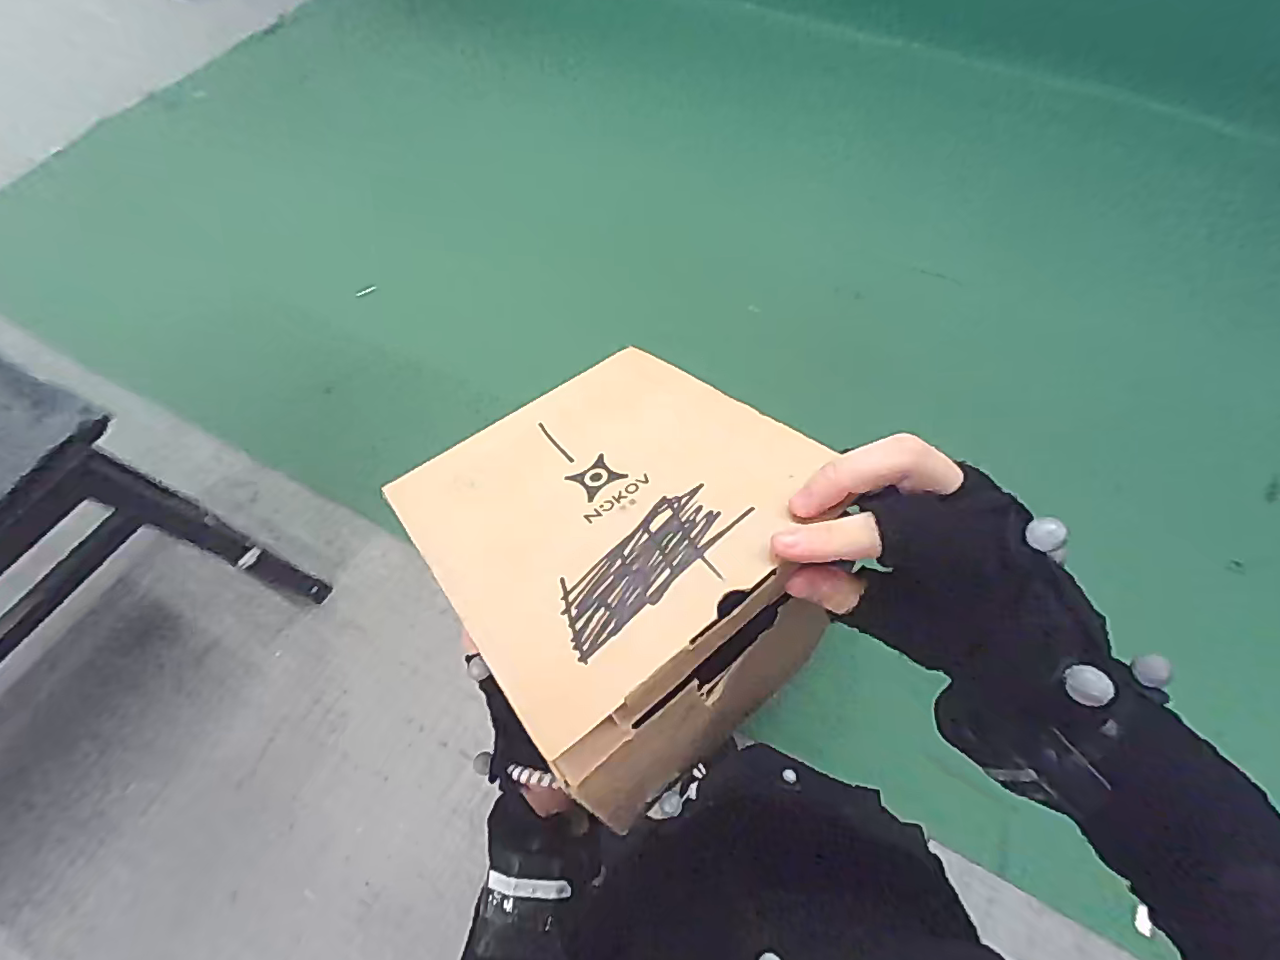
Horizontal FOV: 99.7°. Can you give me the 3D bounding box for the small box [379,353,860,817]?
[{"bbox_3d":[-0.010,0.065,0.318,0.168,0.176,0.179,-35,56,-20],"label":"small box"}]
